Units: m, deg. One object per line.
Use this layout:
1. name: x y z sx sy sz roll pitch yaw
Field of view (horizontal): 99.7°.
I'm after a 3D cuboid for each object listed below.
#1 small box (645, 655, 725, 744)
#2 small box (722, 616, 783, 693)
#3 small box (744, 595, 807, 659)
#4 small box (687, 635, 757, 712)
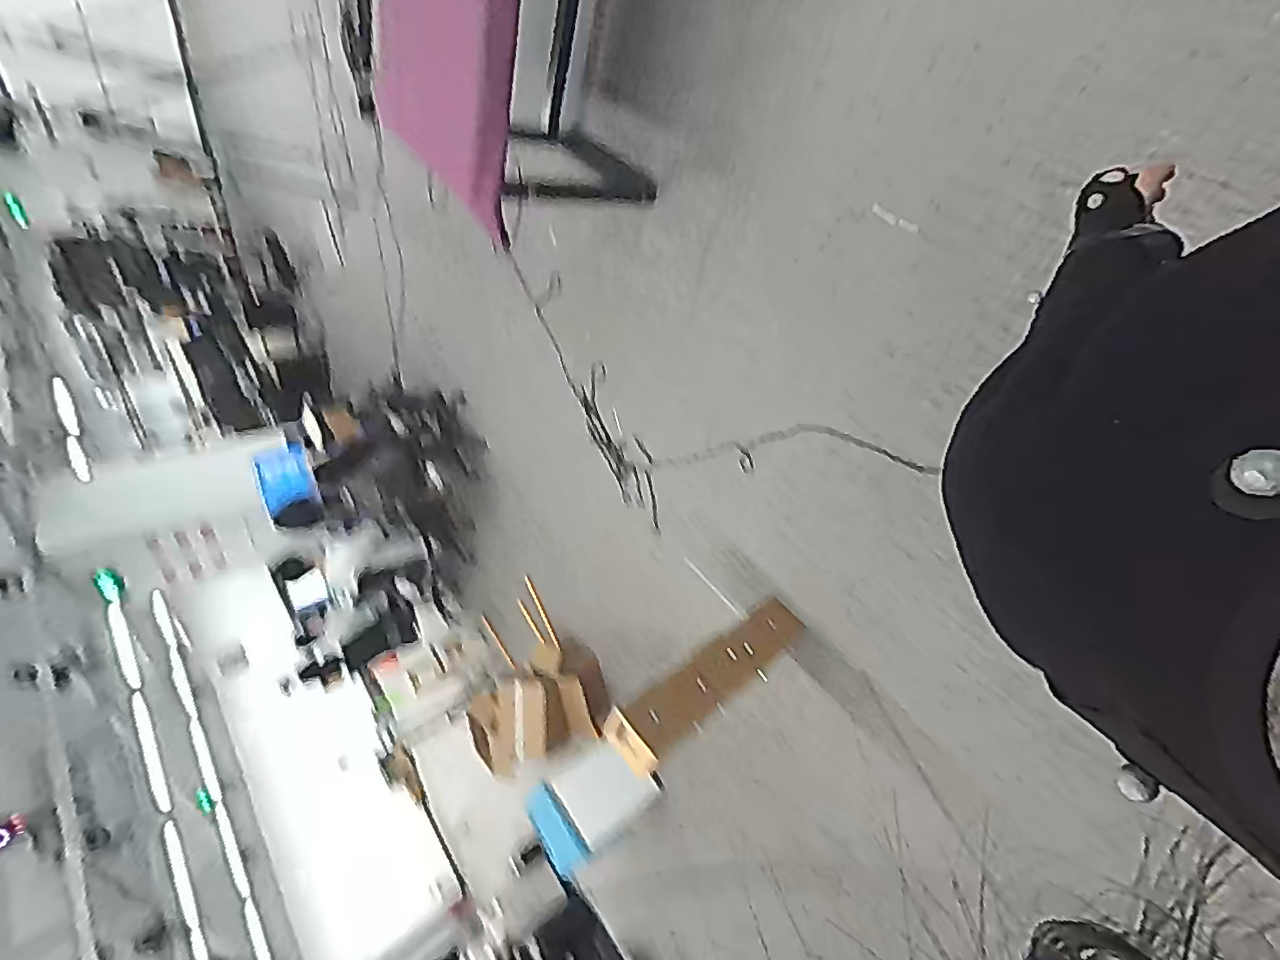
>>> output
1. small box: 0.147 0.701 1.738 0.168 0.176 0.179 44 134 28
2. small box: 0.383 0.623 1.949 0.179 0.176 0.168 46 136 27
3. small box: 0.498 0.570 2.054 0.179 0.176 0.168 46 137 28
4. small box: 0.263 0.655 1.842 0.179 0.176 0.168 45 136 29
